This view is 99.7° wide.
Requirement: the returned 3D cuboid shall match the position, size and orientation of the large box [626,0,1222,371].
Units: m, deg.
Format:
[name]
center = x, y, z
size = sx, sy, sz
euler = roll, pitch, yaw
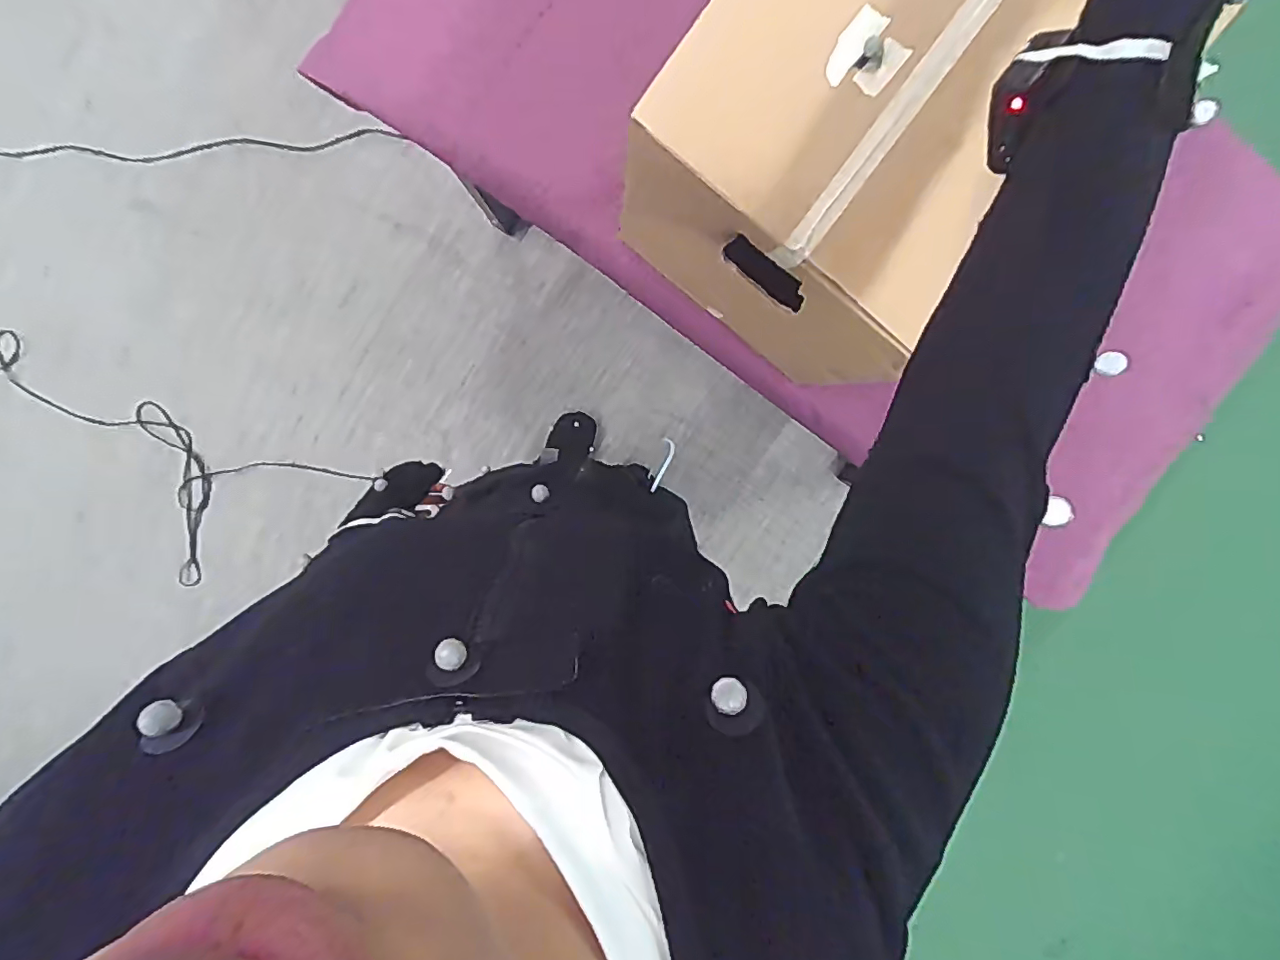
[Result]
[large box]
center = 0.227, -0.365, 0.559
size = 0.320, 0.320, 0.408
euler = 37, 96, -8
